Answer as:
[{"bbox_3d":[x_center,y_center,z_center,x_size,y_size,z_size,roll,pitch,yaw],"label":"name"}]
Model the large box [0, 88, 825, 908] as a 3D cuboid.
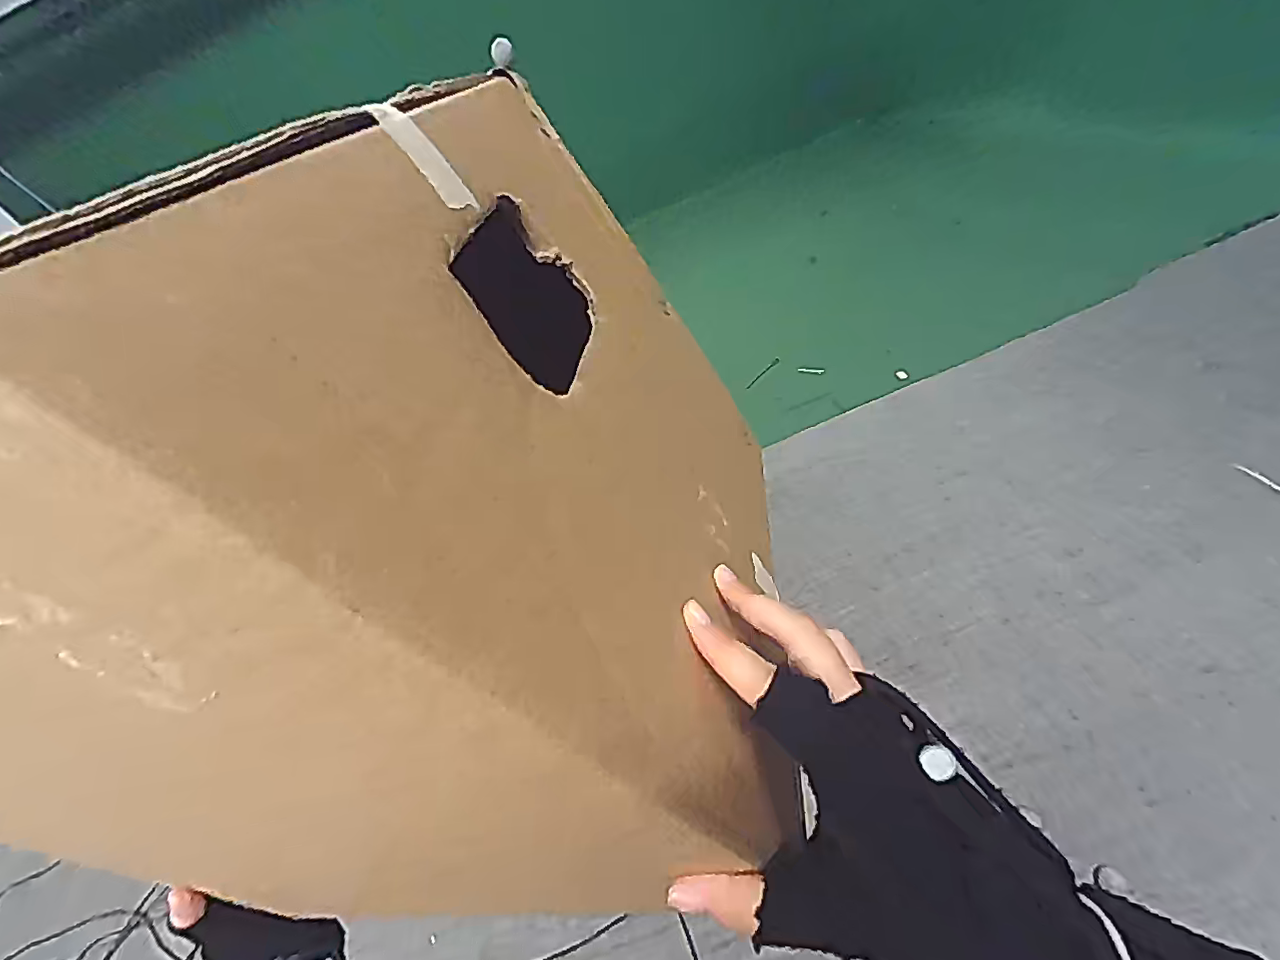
[{"bbox_3d":[-0.148,0.045,0.354,0.408,0.320,0.320,-23,35,24],"label":"large box"}]
